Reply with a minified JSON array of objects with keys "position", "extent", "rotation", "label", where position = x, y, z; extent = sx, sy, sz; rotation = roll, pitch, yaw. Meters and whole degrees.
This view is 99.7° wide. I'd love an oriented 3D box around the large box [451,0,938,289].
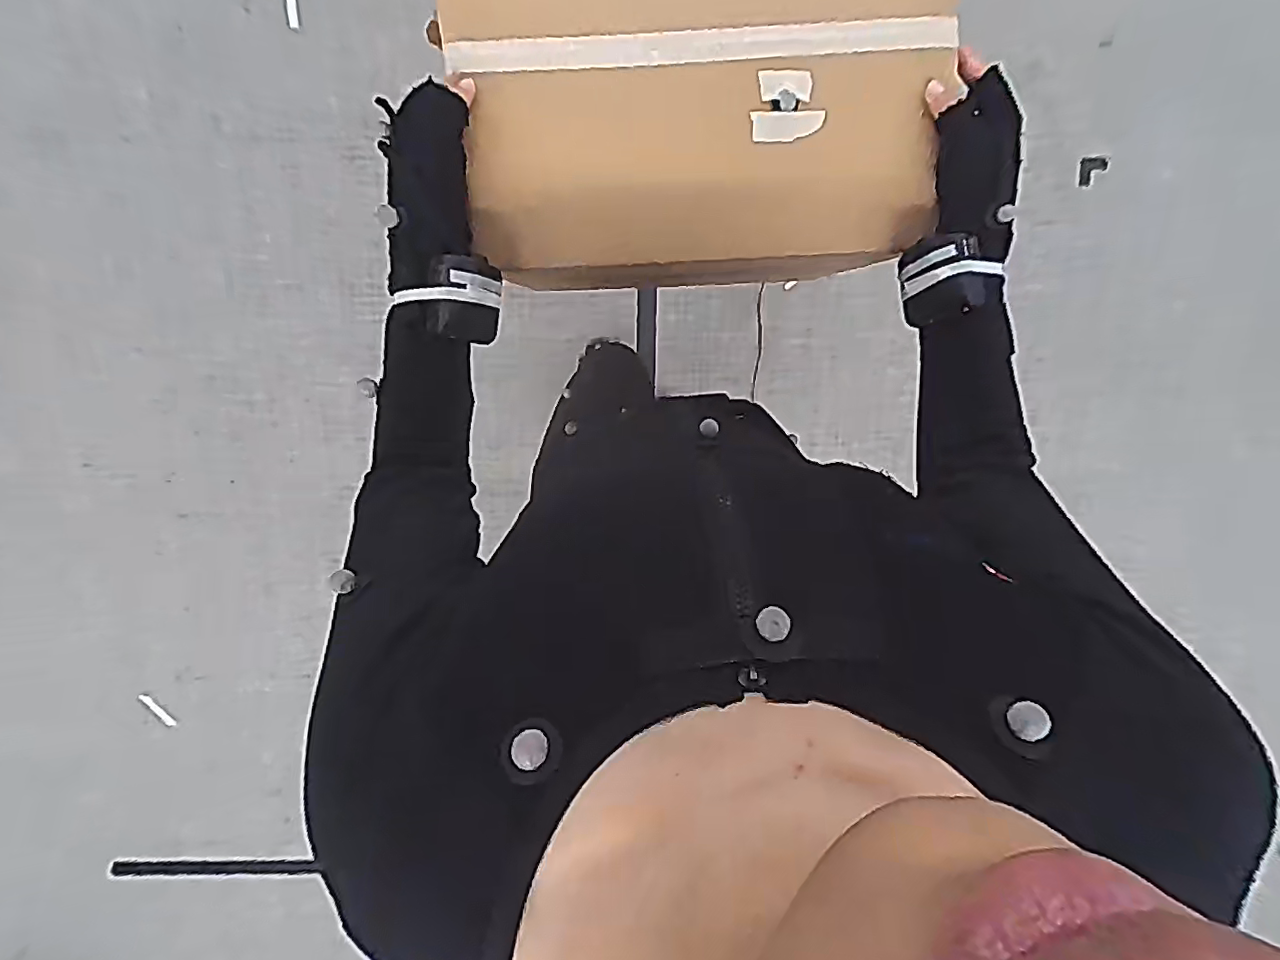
[{"position":[0.041,-0.396,0.592],"extent":[0.408,0.320,0.320],"rotation":[-4,106,-1],"label":"large box"}]
